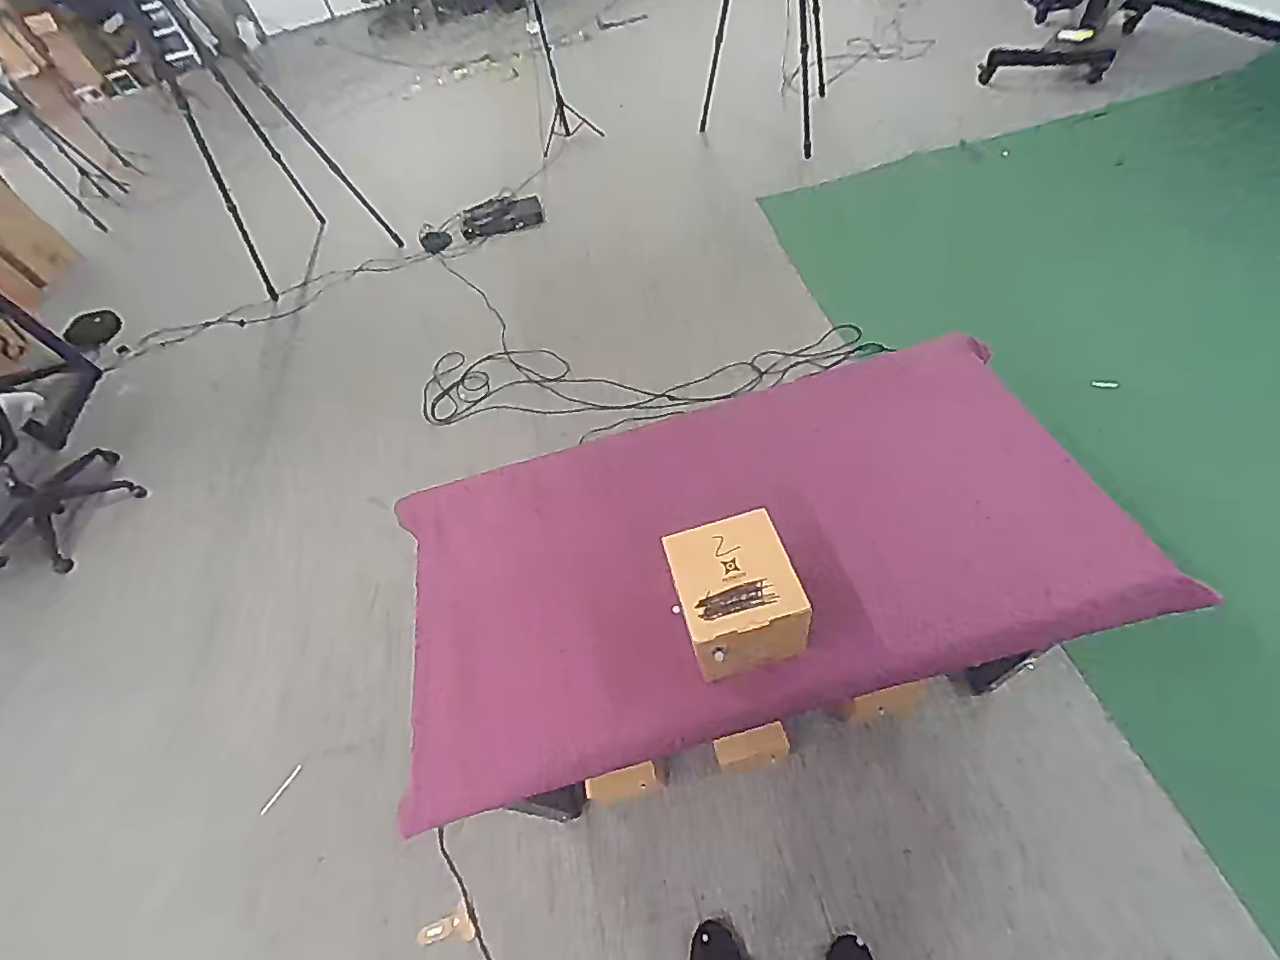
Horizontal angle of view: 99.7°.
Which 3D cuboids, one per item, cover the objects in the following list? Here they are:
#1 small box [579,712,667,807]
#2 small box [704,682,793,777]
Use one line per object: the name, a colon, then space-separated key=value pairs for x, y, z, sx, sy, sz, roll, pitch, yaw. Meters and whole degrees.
small box: x=-0.041 y=0.721 z=1.388 sx=0.179 sy=0.176 sz=0.168 roll=-17 pitch=53 yaw=0
small box: x=0.273 y=0.638 z=1.376 sx=0.179 sy=0.176 sz=0.168 roll=-16 pitch=52 yaw=2
